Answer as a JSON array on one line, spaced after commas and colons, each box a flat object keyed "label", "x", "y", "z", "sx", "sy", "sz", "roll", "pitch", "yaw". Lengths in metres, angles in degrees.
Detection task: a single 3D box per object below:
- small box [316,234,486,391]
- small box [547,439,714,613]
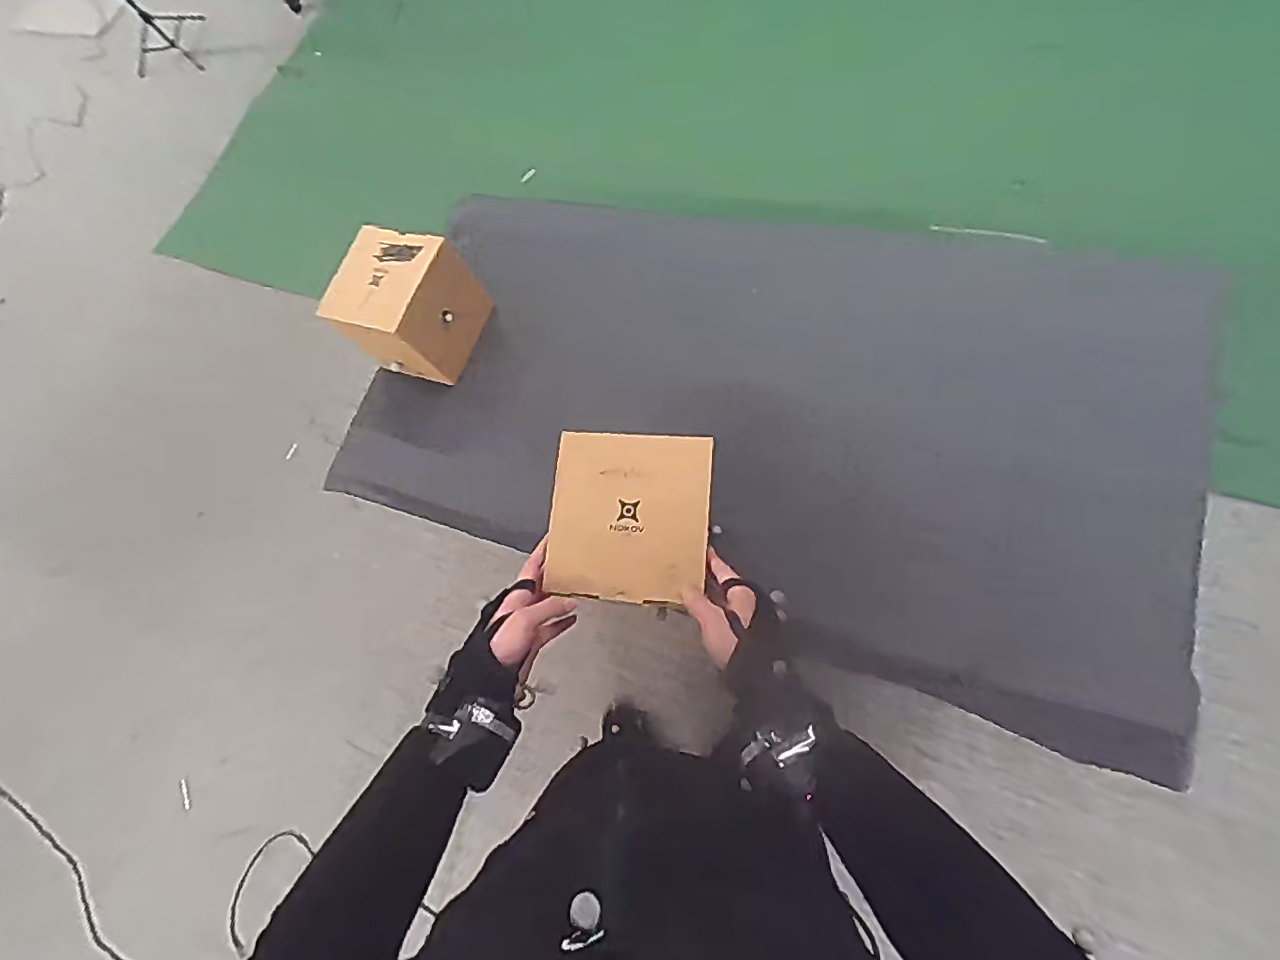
[{"label": "small box", "x": -0.387, "y": -0.276, "z": 0.911, "sx": 0.168, "sy": 0.176, "sz": 0.179, "roll": 16, "pitch": 77, "yaw": 18}, {"label": "small box", "x": 0.001, "y": 0.062, "z": 0.642, "sx": 0.168, "sy": 0.176, "sz": 0.179, "roll": 3, "pitch": 75, "yaw": 7}]
